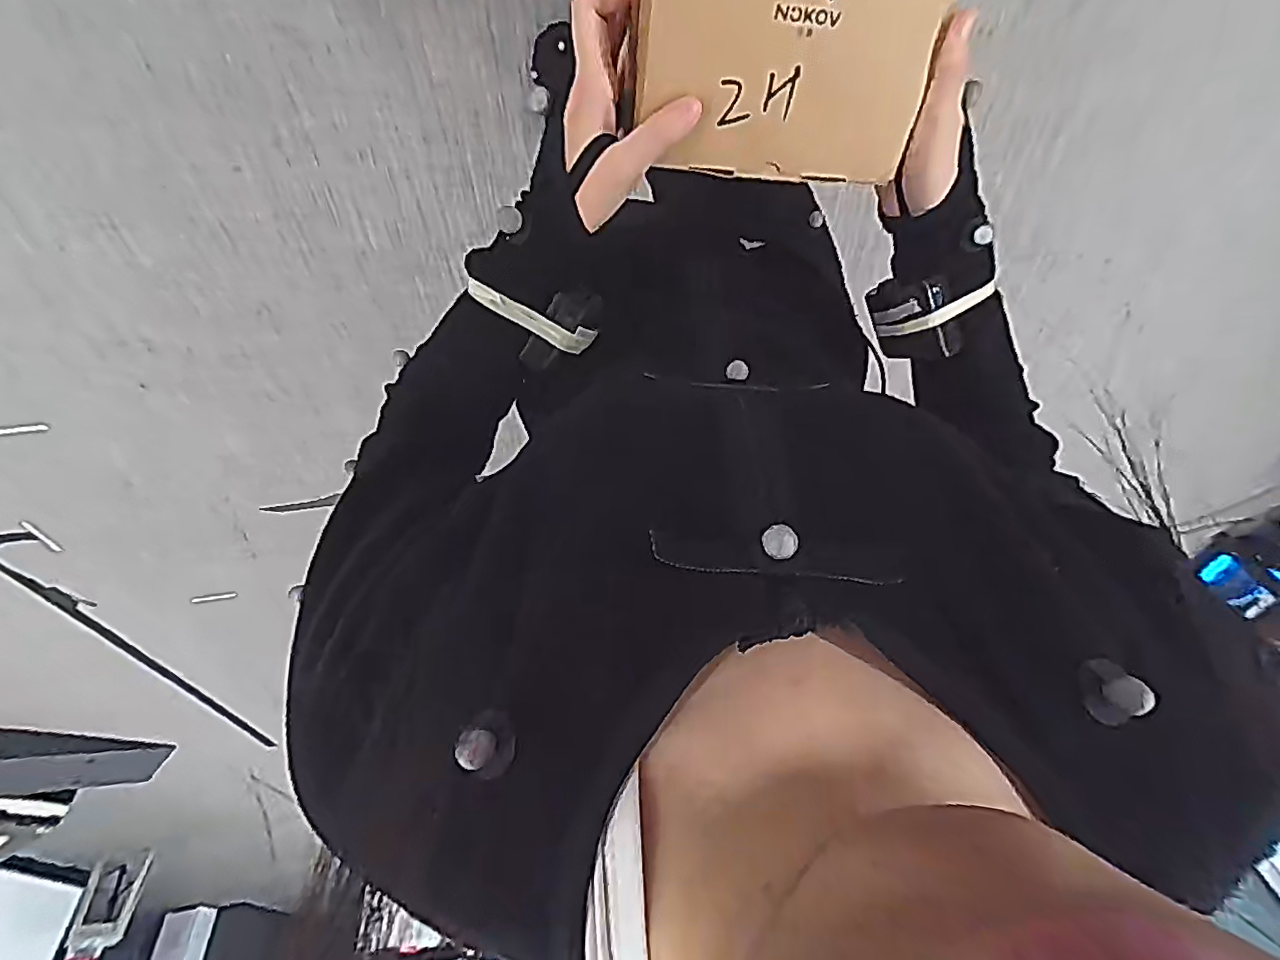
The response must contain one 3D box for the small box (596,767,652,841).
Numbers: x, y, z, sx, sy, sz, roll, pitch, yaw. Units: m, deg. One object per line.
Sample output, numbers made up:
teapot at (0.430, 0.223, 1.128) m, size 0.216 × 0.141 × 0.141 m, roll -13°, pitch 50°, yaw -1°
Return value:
small box at (-0.057, 1.100, 1.838) m, size 0.168 × 0.176 × 0.179 m, roll -7°, pitch 136°, yaw -9°
